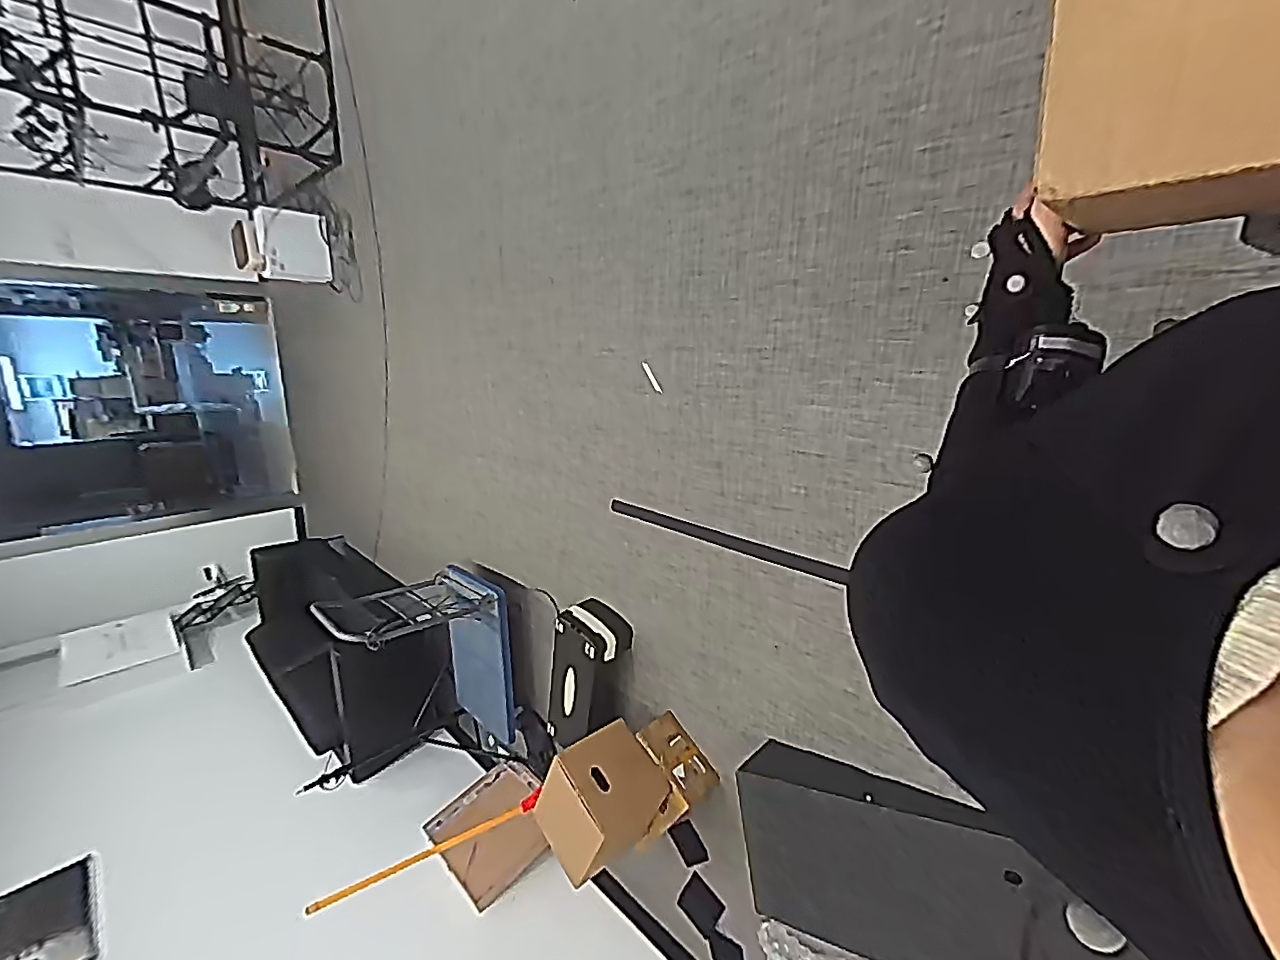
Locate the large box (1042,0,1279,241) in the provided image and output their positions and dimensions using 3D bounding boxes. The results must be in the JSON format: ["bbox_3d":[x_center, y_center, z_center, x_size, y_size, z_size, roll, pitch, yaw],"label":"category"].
[{"bbox_3d":[0.436,-0.305,0.222,0.408,0.320,0.320,8,112,39],"label":"large box"}]
